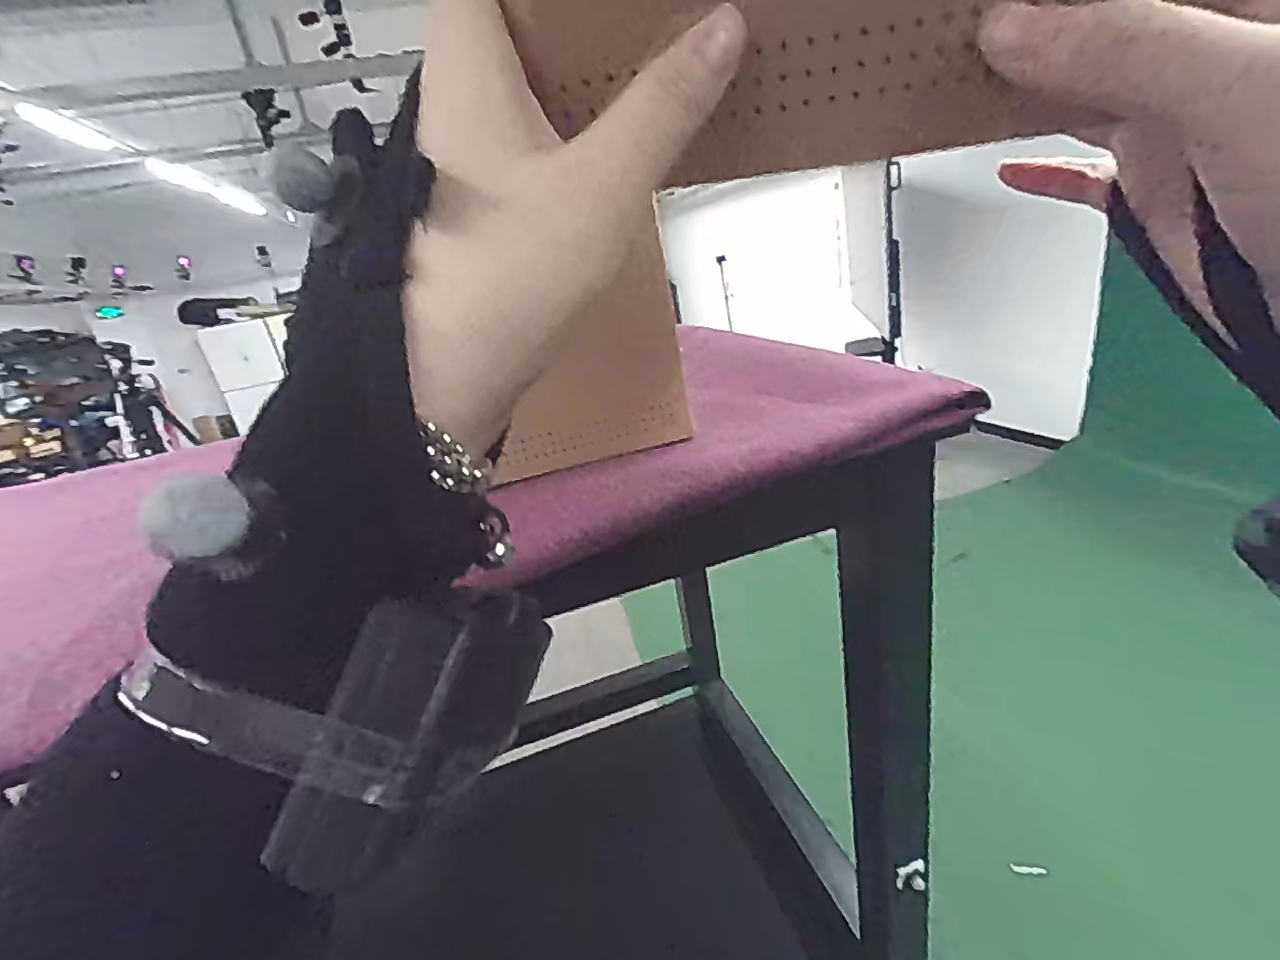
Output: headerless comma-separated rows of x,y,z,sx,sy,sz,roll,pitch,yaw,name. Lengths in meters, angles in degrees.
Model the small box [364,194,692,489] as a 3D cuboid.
-0.073,-0.104,0.417,0.179,0.176,0.168,-13,20,-6,small box
